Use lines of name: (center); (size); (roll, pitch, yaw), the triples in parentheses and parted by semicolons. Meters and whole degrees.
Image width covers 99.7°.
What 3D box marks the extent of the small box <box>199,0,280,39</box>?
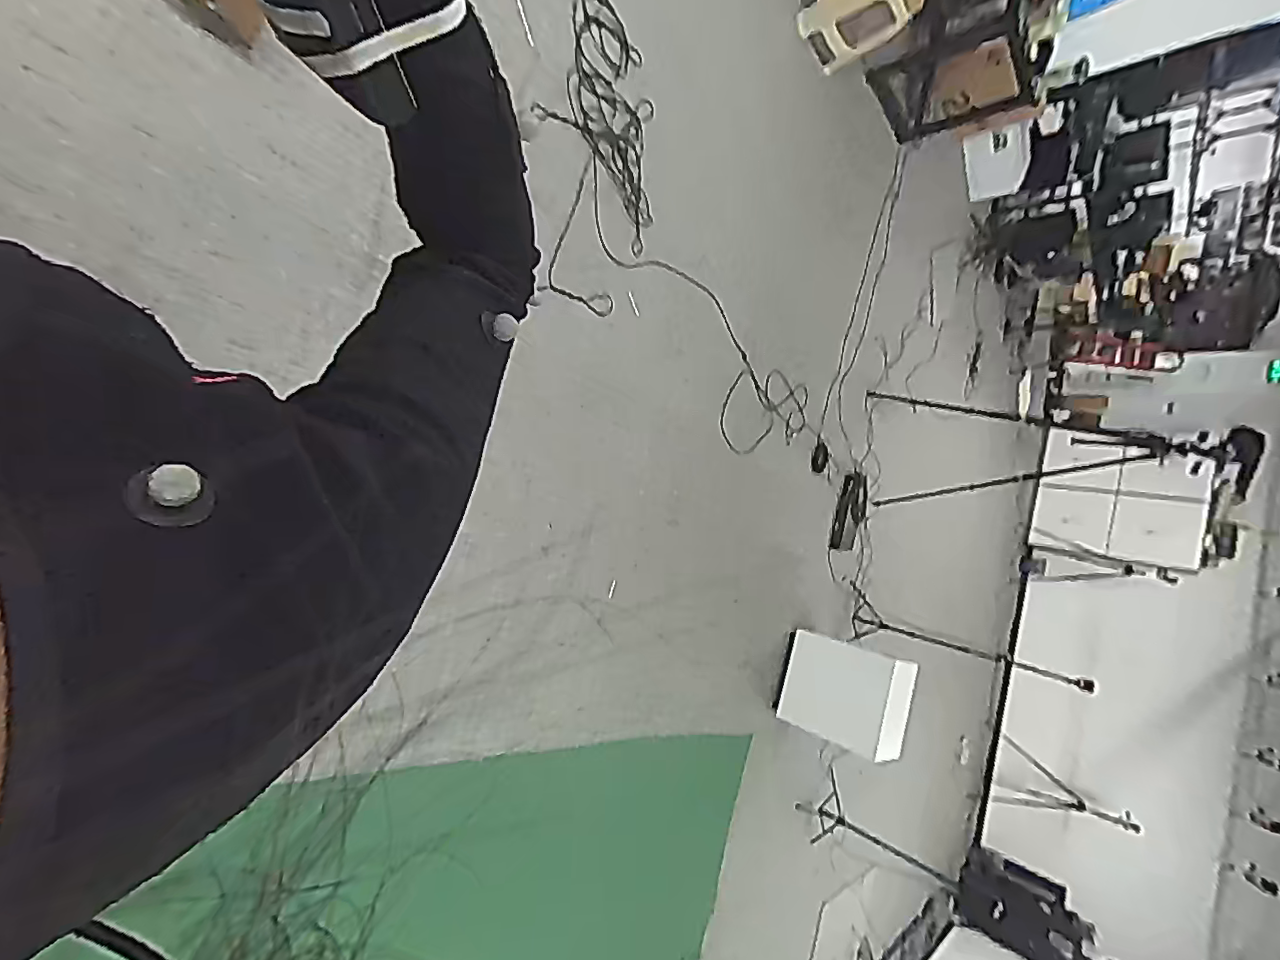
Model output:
small box: (-0.799, -1.038, 1.065); (0.168, 0.176, 0.179); (29, 77, -44)
